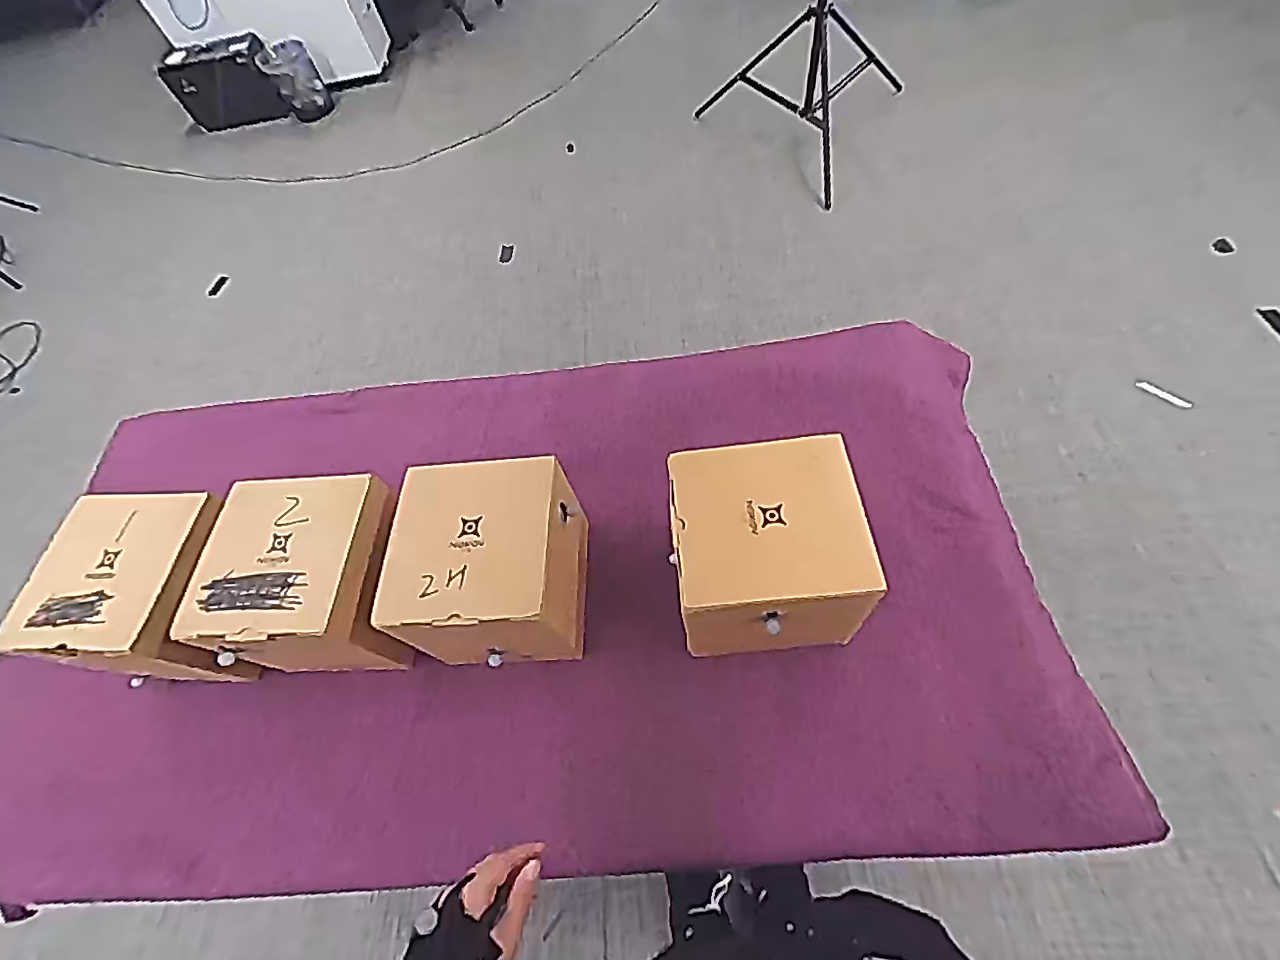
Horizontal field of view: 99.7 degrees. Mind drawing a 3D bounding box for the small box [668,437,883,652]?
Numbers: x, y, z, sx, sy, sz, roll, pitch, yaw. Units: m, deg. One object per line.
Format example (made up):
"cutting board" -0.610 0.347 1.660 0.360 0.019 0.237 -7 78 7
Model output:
"small box" 0.128 0.076 0.571 0.179 0.176 0.168 -7 58 6
